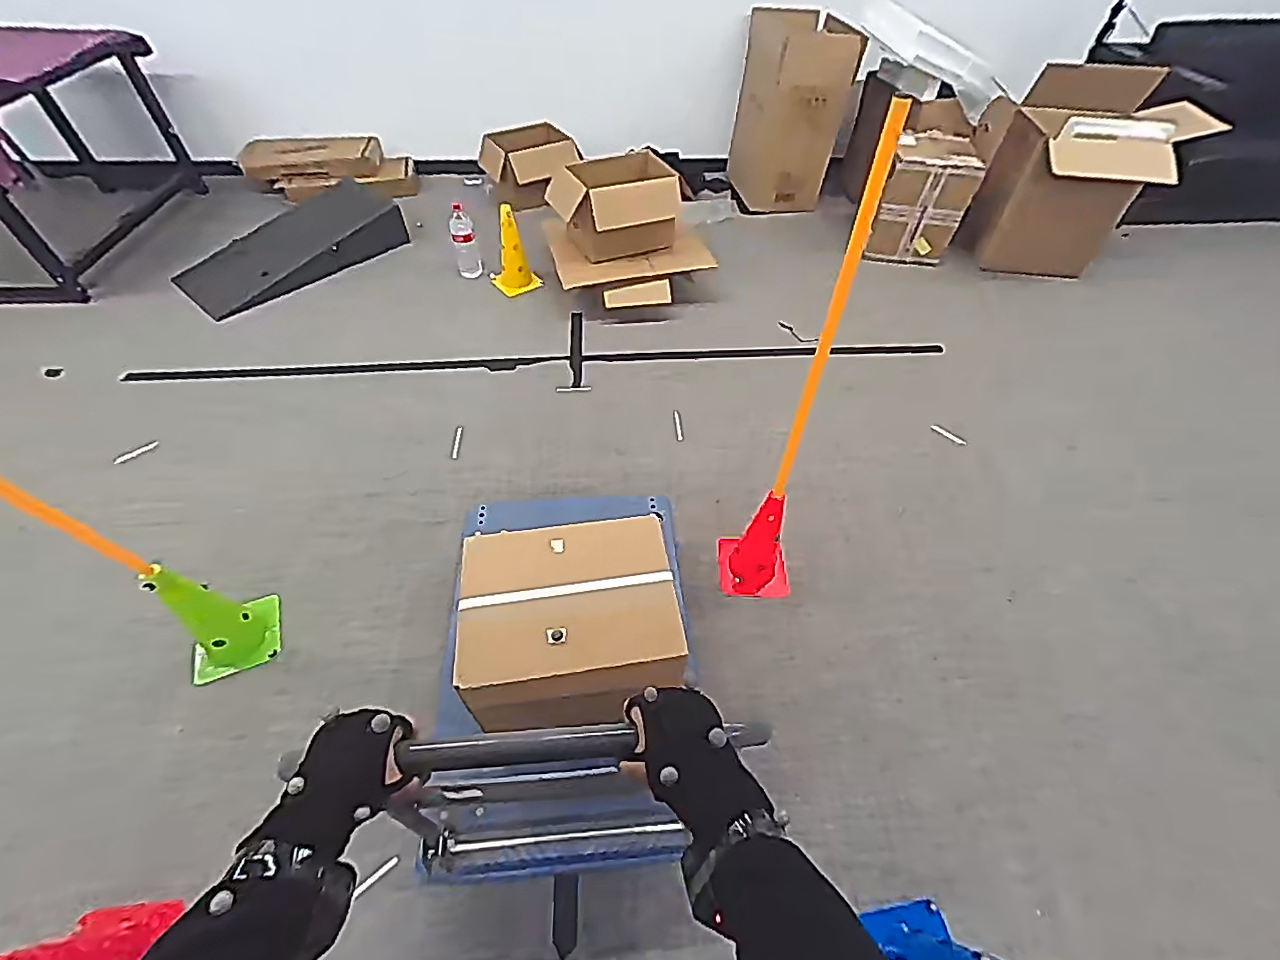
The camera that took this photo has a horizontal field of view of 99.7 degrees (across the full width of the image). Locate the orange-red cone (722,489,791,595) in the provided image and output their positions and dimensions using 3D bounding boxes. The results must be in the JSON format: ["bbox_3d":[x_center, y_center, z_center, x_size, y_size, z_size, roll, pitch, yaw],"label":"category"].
[{"bbox_3d":[0.352,0.146,1.491,0.199,0.360,0.198,3,51,-1],"label":"orange-red cone"}]

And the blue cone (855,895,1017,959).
[{"bbox_3d":[0.545,0.846,0.942,0.193,0.380,0.192,-5,50,-7],"label":"blue cone"}]
